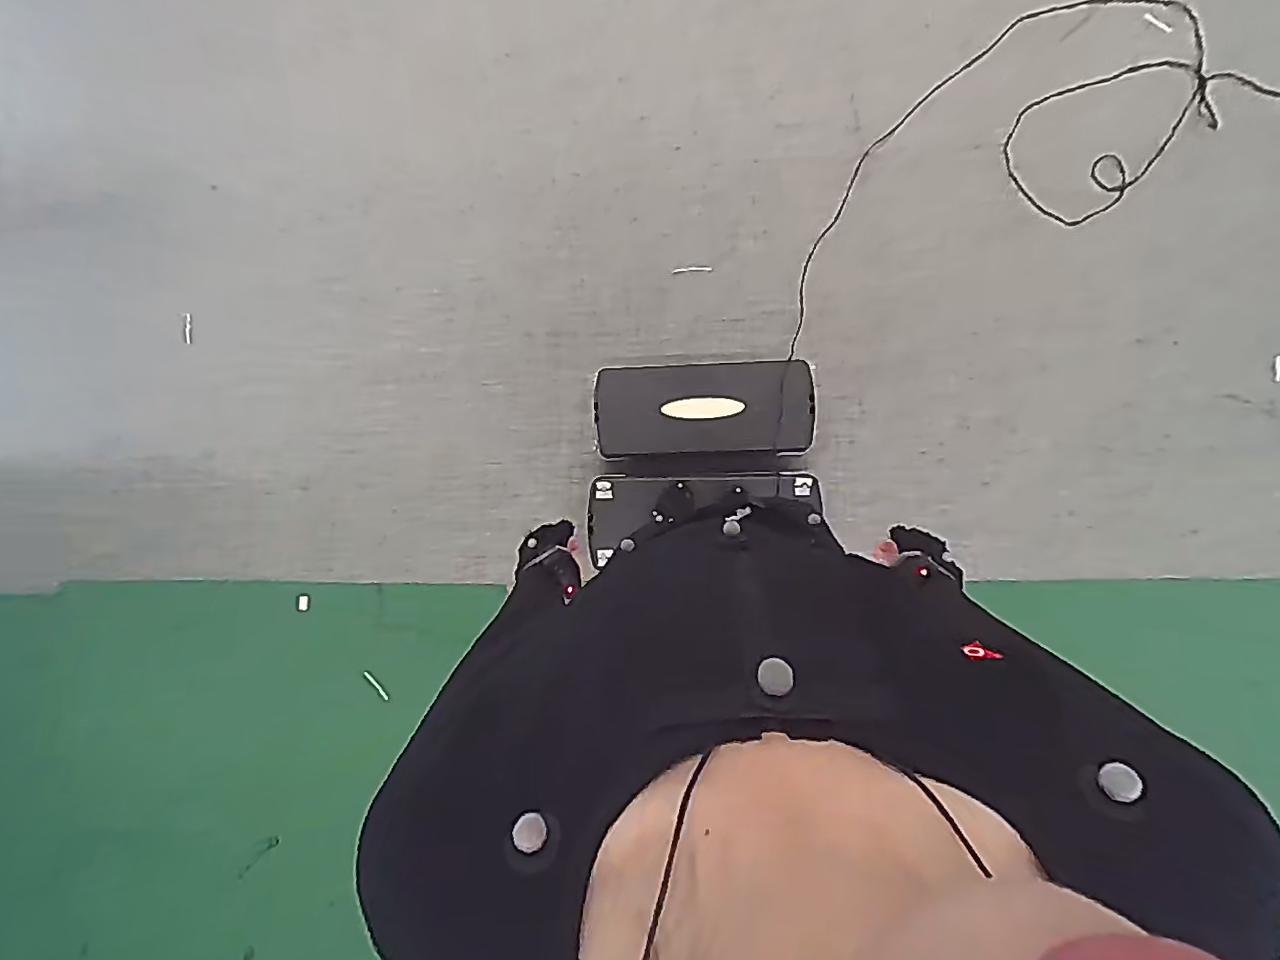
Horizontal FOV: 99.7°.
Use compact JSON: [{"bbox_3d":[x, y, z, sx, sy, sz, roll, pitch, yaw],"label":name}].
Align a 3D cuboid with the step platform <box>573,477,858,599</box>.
[{"bbox_3d":[0.181,0.145,1.392,0.684,0.204,0.286,-1,88,4],"label":"step platform"}]
